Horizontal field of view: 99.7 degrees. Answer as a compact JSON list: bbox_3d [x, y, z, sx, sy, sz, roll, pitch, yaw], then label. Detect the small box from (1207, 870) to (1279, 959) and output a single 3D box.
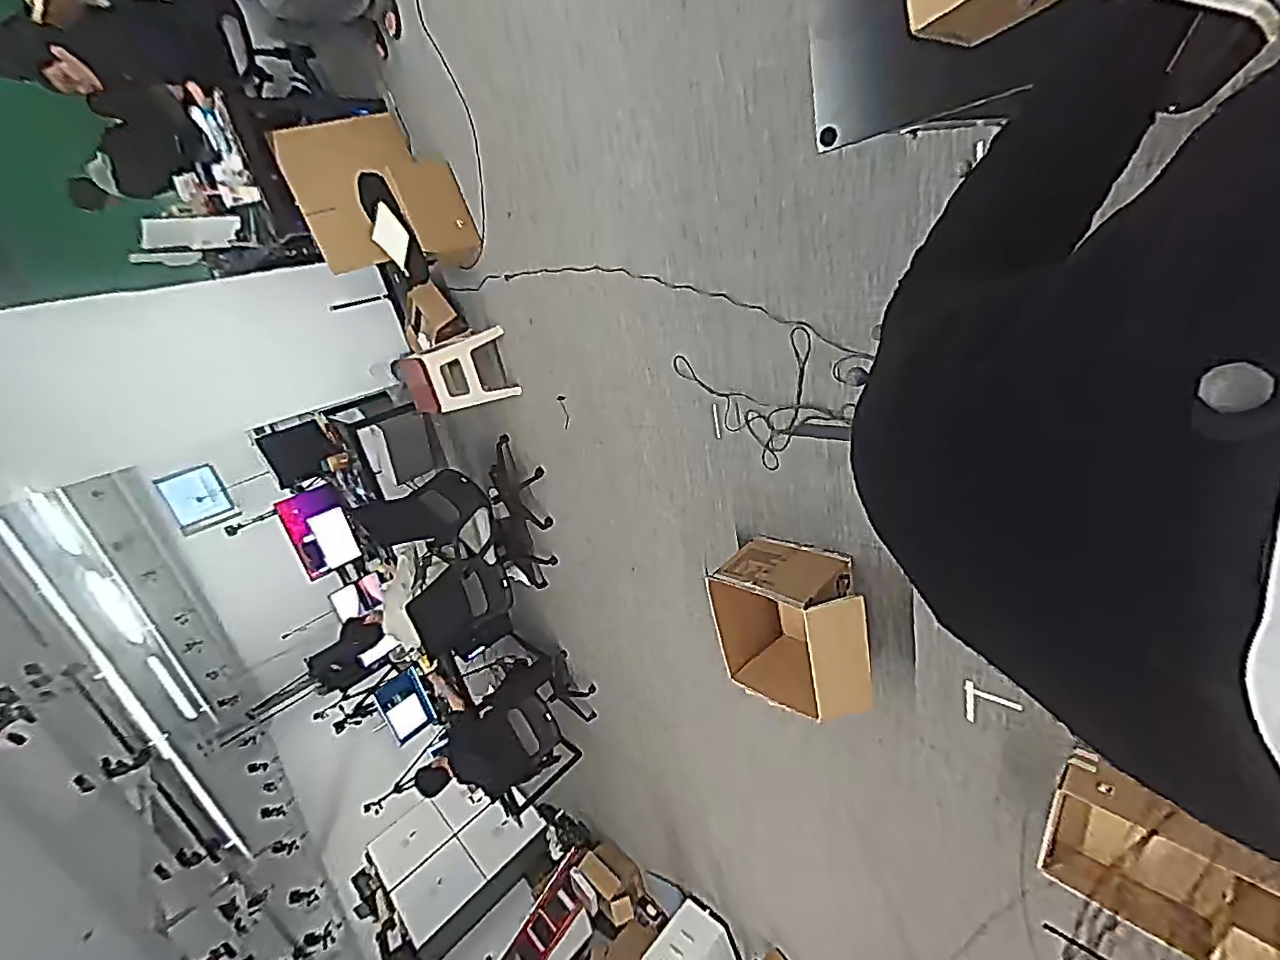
[{"bbox_3d":[1.529,1.109,1.309,0.179,0.176,0.168,17,124,45],"label":"small box"}]
